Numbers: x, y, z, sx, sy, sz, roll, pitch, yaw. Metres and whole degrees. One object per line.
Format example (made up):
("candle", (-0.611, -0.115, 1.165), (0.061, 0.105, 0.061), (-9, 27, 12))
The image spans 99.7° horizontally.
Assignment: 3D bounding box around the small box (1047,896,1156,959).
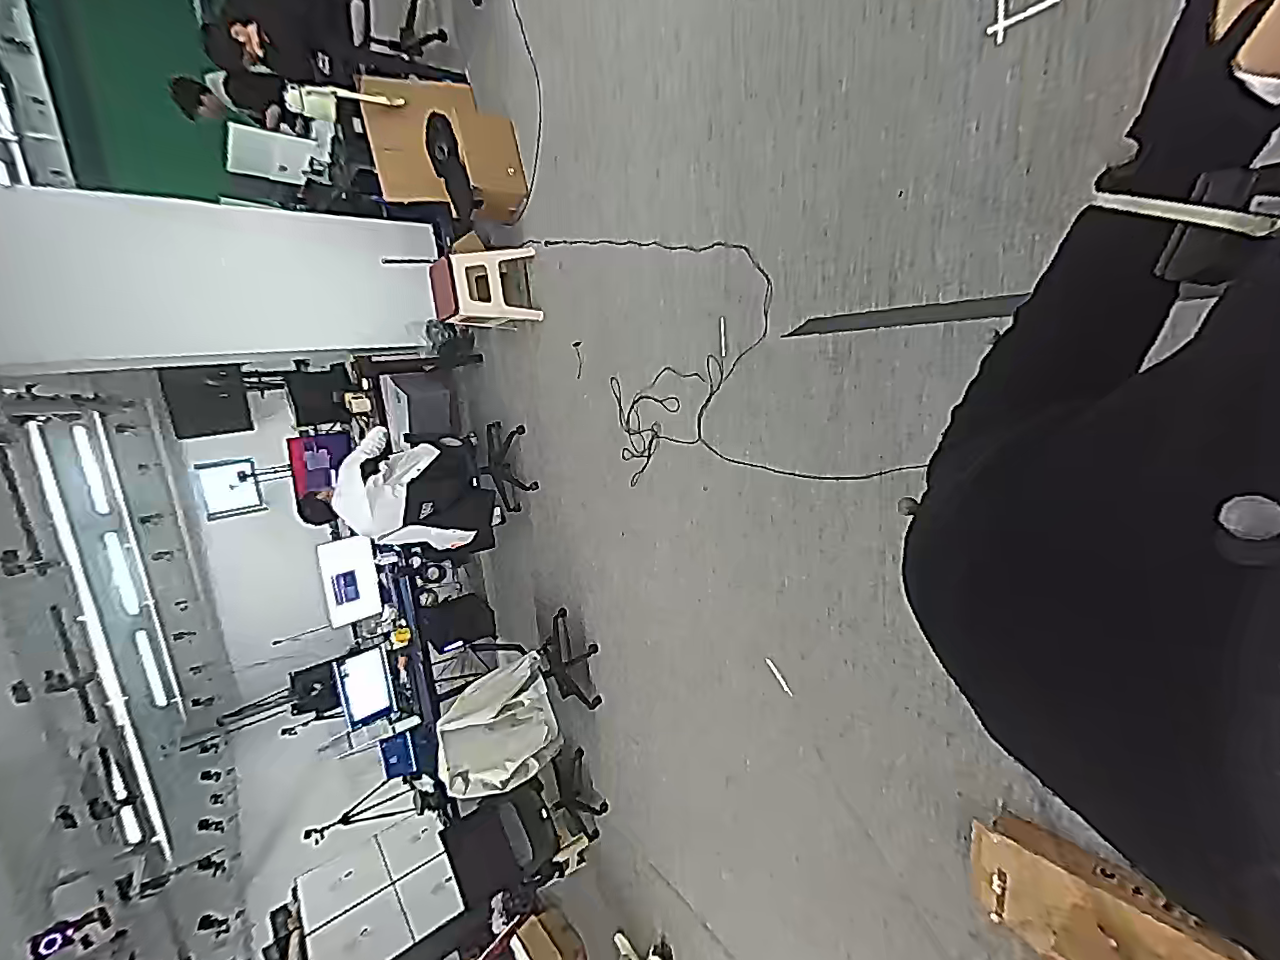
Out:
("small box", (1.067, 1.144, 1.262), (0.168, 0.176, 0.179), (16, 114, 50))
